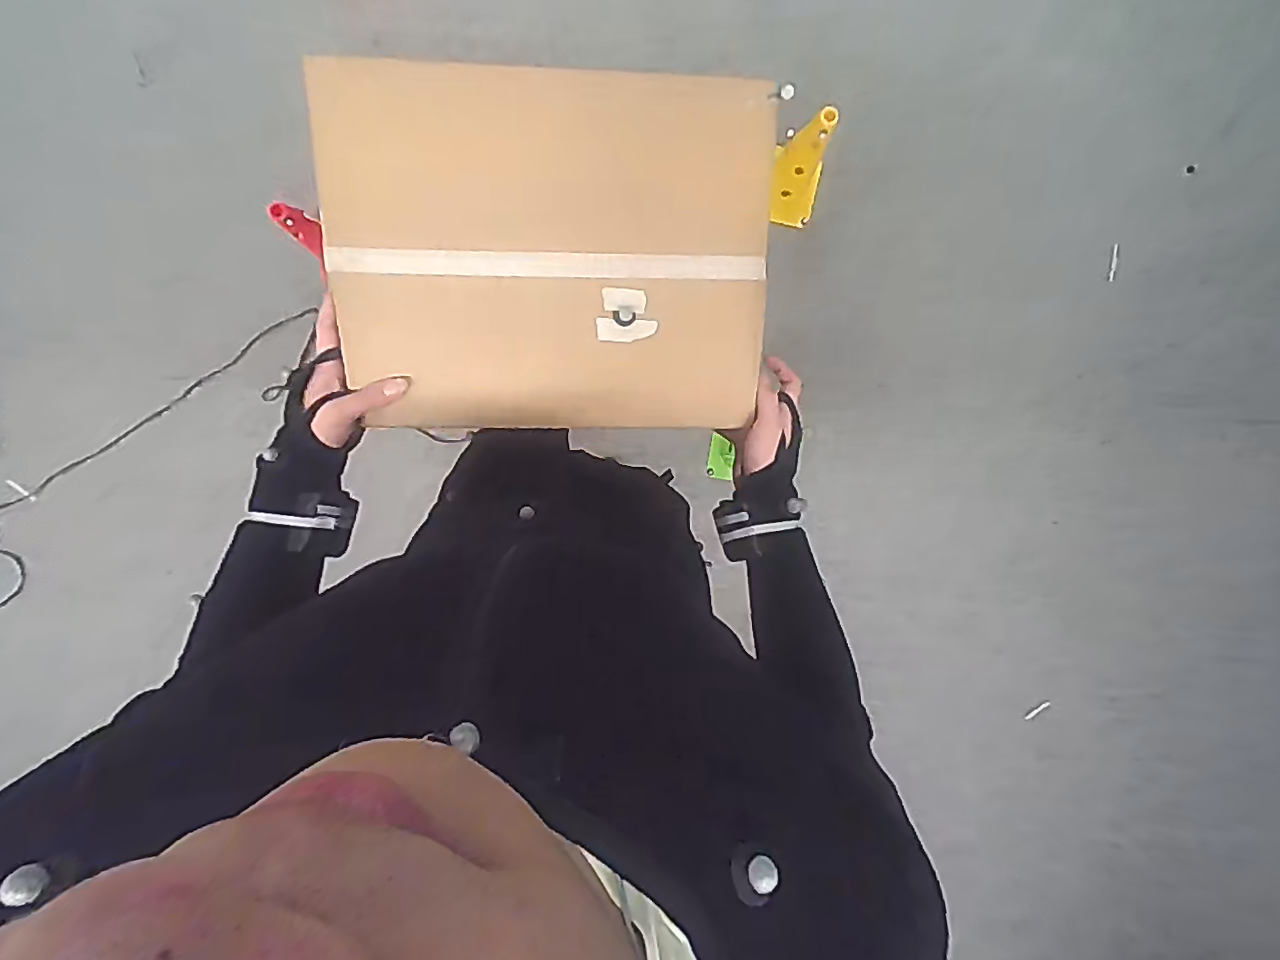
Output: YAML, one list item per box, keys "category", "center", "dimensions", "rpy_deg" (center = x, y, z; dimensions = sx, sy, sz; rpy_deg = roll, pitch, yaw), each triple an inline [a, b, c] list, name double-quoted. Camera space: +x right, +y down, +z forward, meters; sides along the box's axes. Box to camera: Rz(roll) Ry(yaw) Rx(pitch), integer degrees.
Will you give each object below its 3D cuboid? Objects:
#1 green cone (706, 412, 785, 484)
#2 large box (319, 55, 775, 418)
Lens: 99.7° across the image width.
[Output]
- category: "green cone"
  center: [0.315, -0.079, 1.445]
  dimensions: [0.200, 0.368, 0.202]
  rpy_deg: [8, 95, -4]
- category: "large box"
  center: [-0.090, -0.257, 0.655]
  dimensions: [0.408, 0.320, 0.320]
  rpy_deg: [0, 107, -5]
